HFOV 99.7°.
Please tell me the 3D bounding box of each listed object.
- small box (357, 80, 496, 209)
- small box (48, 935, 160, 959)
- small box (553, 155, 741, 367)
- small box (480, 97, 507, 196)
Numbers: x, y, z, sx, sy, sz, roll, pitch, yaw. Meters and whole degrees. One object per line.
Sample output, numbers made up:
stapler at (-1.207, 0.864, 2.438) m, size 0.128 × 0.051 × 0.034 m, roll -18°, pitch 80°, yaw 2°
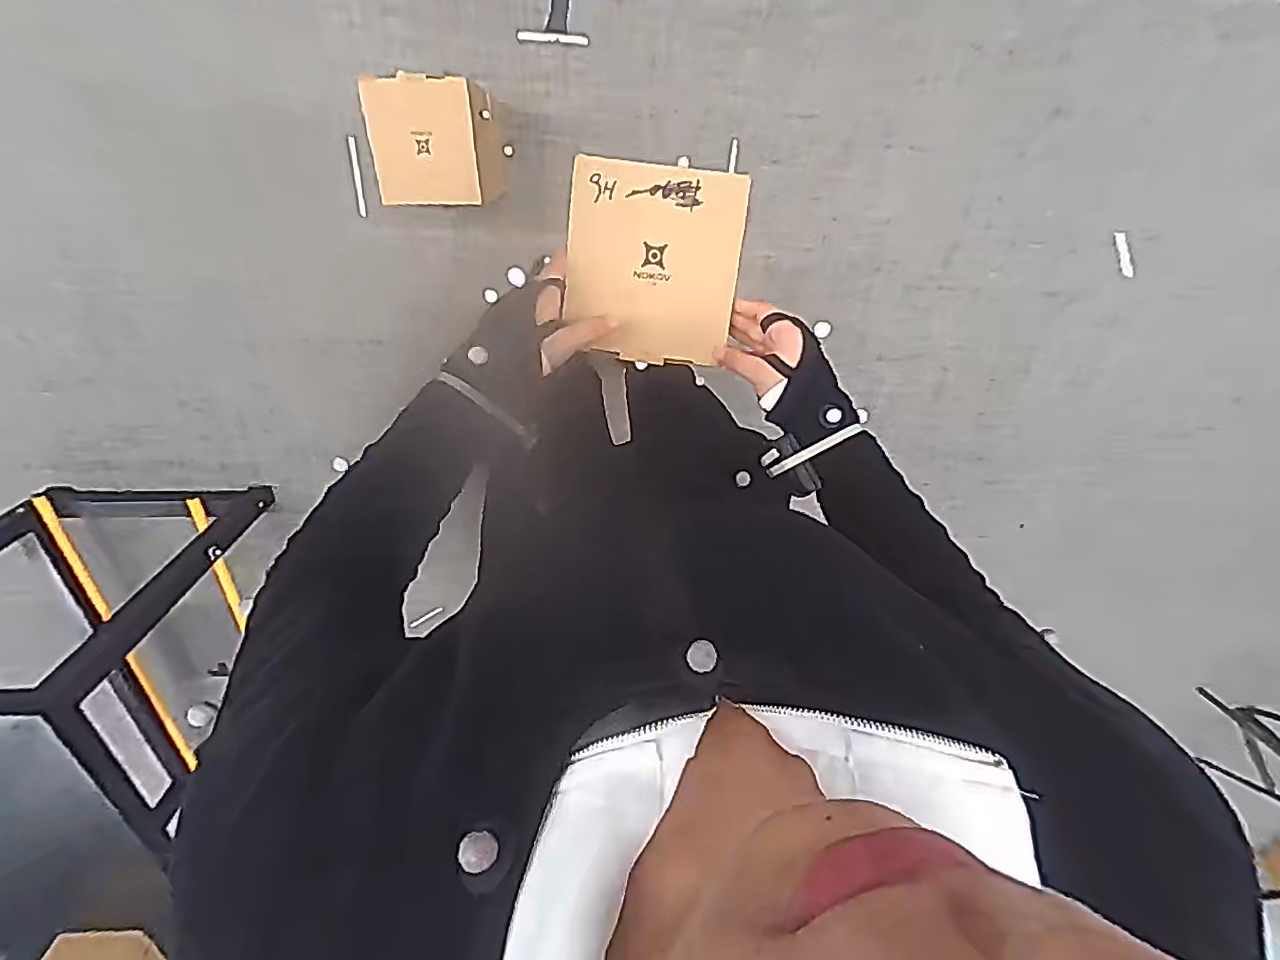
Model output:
small box at (-0.352, -0.569, 0.928) m, size 0.168 × 0.176 × 0.179 m, roll -2°, pitch 122°, yaw -2°
small box at (-1.220, 1.138, 1.190) m, size 0.179 × 0.176 × 0.168 m, roll 2°, pitch 120°, yaw -6°
small box at (0.007, -0.228, 0.596) m, size 0.168 × 0.176 × 0.179 m, roll 7°, pitch 106°, yaw 0°
small box at (-0.367, -0.653, 1.067) m, size 0.179 × 0.176 × 0.168 m, roll -1°, pitch 120°, yaw -5°
